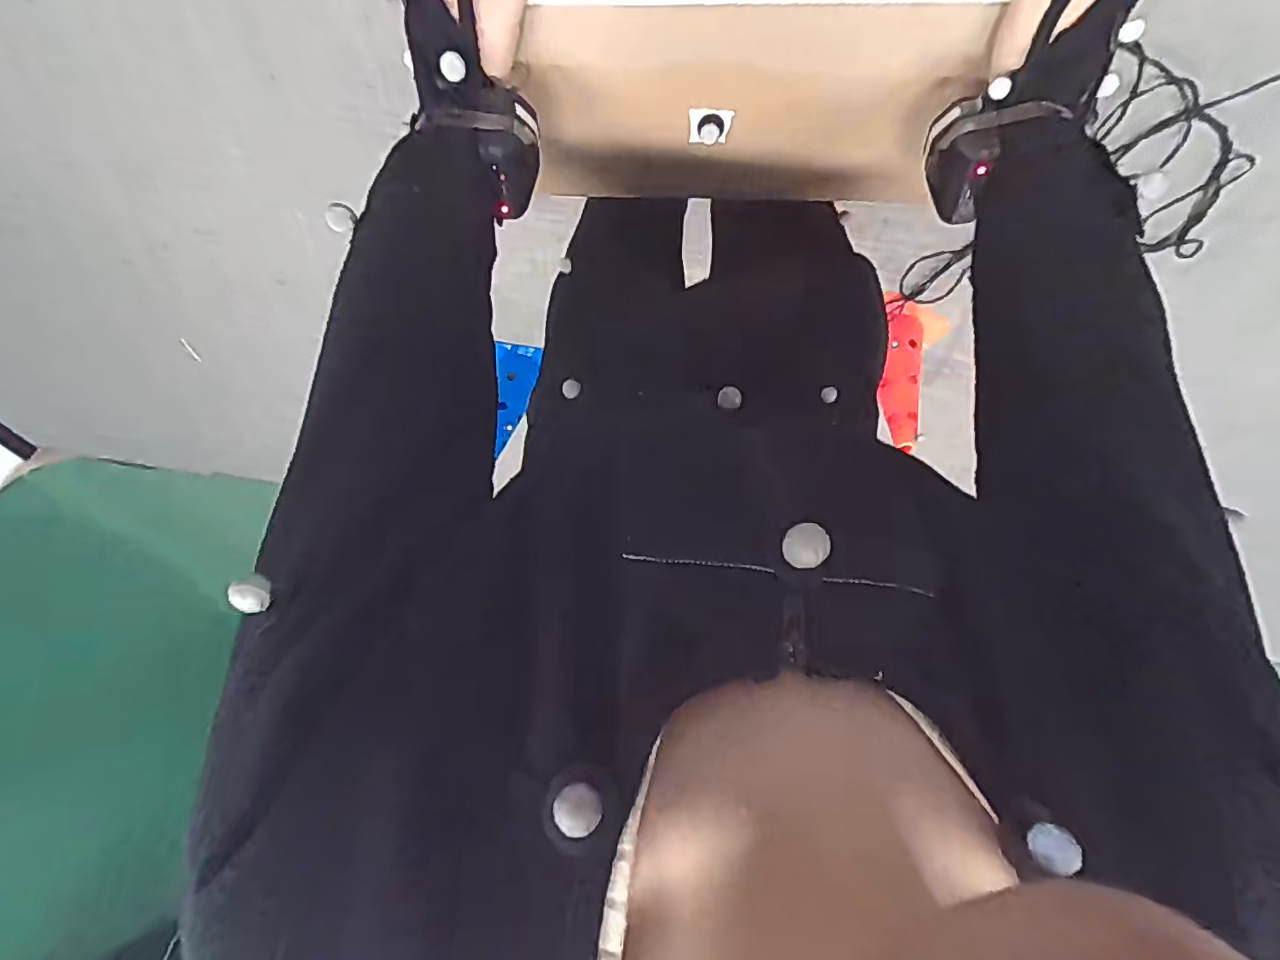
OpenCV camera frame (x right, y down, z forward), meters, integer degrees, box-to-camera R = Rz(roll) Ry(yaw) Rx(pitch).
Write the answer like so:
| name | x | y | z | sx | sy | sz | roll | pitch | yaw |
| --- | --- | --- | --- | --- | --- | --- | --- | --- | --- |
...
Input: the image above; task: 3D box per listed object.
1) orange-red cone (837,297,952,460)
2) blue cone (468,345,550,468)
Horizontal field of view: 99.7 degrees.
| name | x | y | z | sx | sy | sz | roll | pitch | yaw |
| --- | --- | --- | --- | --- | --- | --- | --- | --- | --- |
| orange-red cone | 0.580 | -0.197 | 1.205 | 0.199 | 0.360 | 0.198 | 20 | 146 | -15 |
| blue cone | -0.395 | -0.191 | 1.532 | 0.192 | 0.380 | 0.193 | 11 | 146 | 2 |
